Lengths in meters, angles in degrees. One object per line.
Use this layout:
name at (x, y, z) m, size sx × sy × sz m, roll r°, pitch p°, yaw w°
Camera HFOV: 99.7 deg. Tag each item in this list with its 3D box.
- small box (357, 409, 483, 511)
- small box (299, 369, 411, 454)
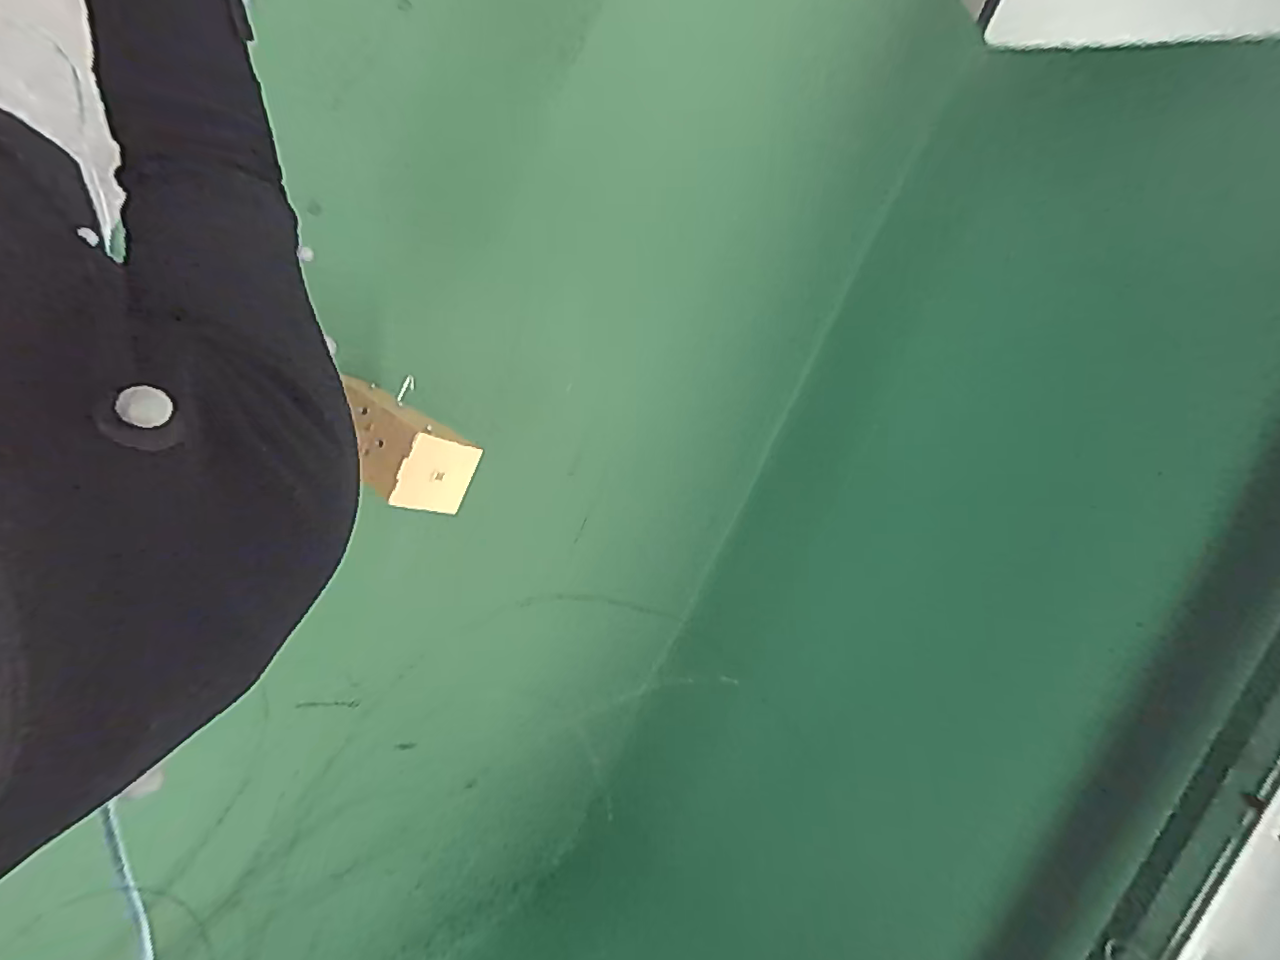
small box at (-0.500, -0.046, 1.226) m, size 0.179 × 0.176 × 0.168 m, roll 18°, pitch 99°, yaw -55°
small box at (-0.744, -0.172, 1.405) m, size 0.179 × 0.176 × 0.168 m, roll 23°, pitch 95°, yaw -56°
